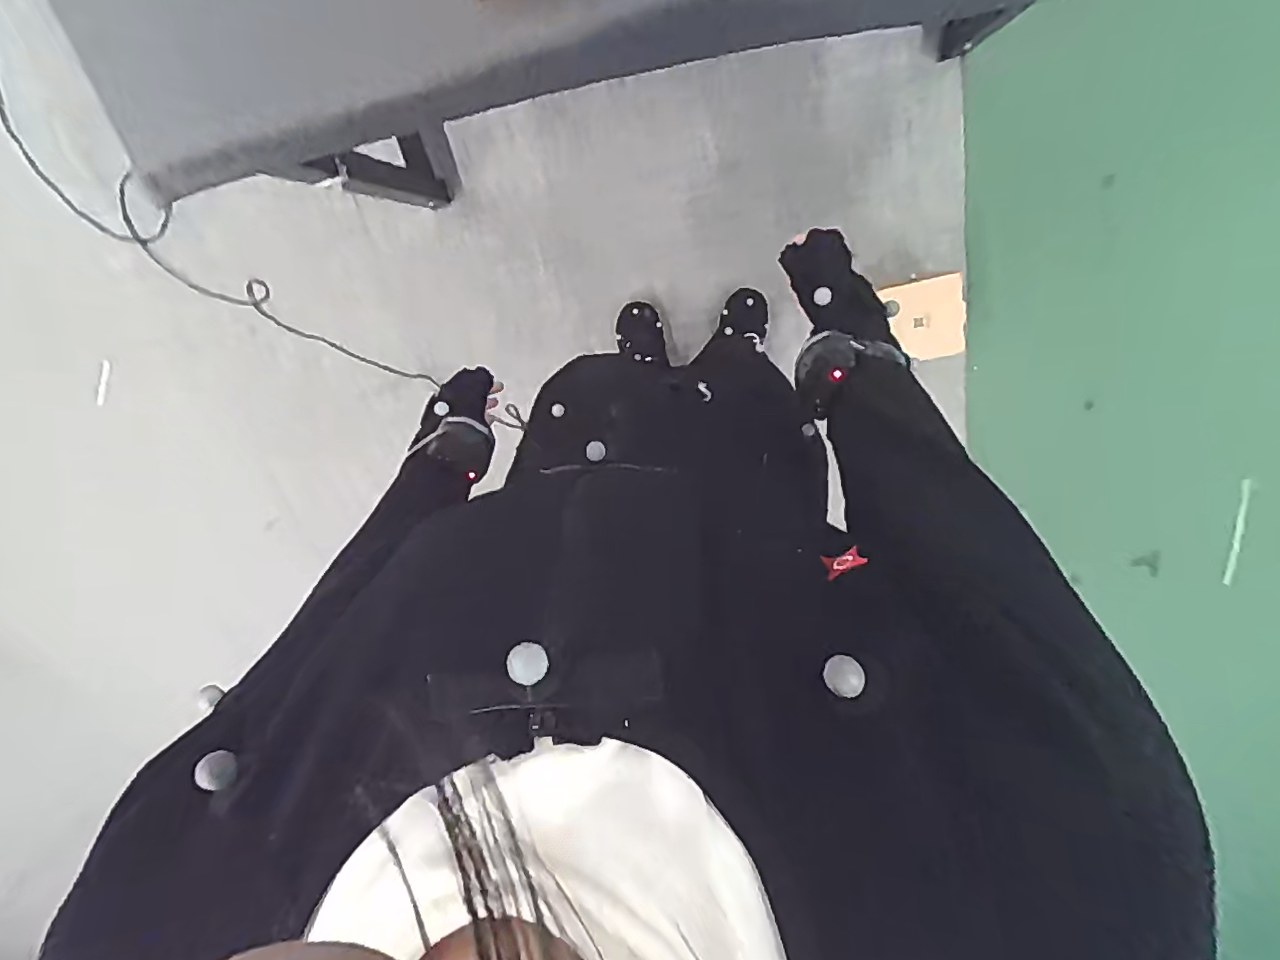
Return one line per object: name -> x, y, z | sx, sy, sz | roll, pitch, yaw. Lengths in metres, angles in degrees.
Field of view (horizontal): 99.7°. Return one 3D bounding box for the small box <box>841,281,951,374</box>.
small box -> 0.571, -0.348, 1.218 | 0.179, 0.176, 0.168 | -10, 109, 9
